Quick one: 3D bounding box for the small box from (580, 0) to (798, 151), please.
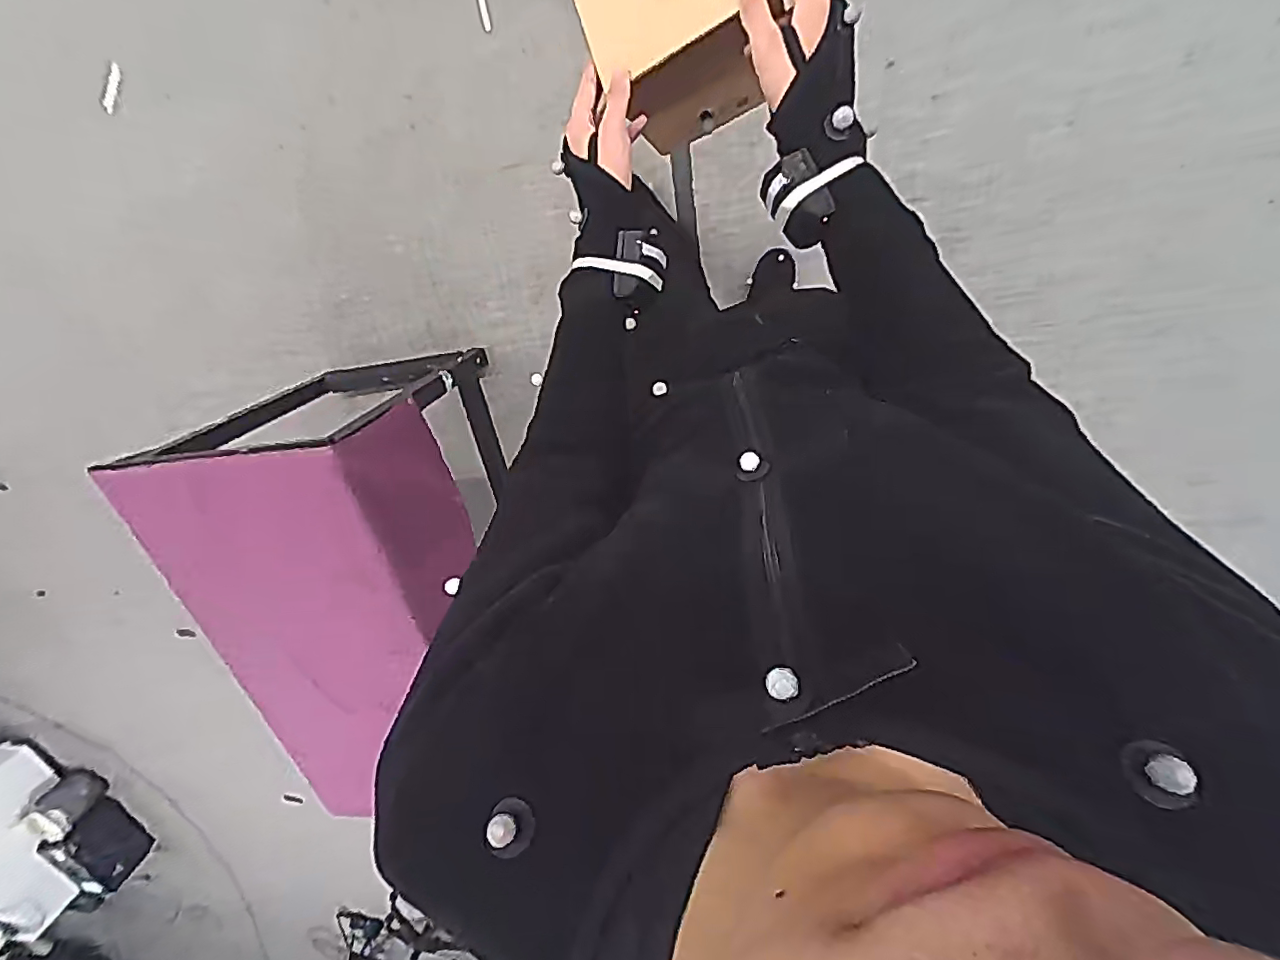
[{"bbox_3d":[0.045,-0.468,0.524,0.168,0.176,0.179,-16,94,24],"label":"small box"}]
